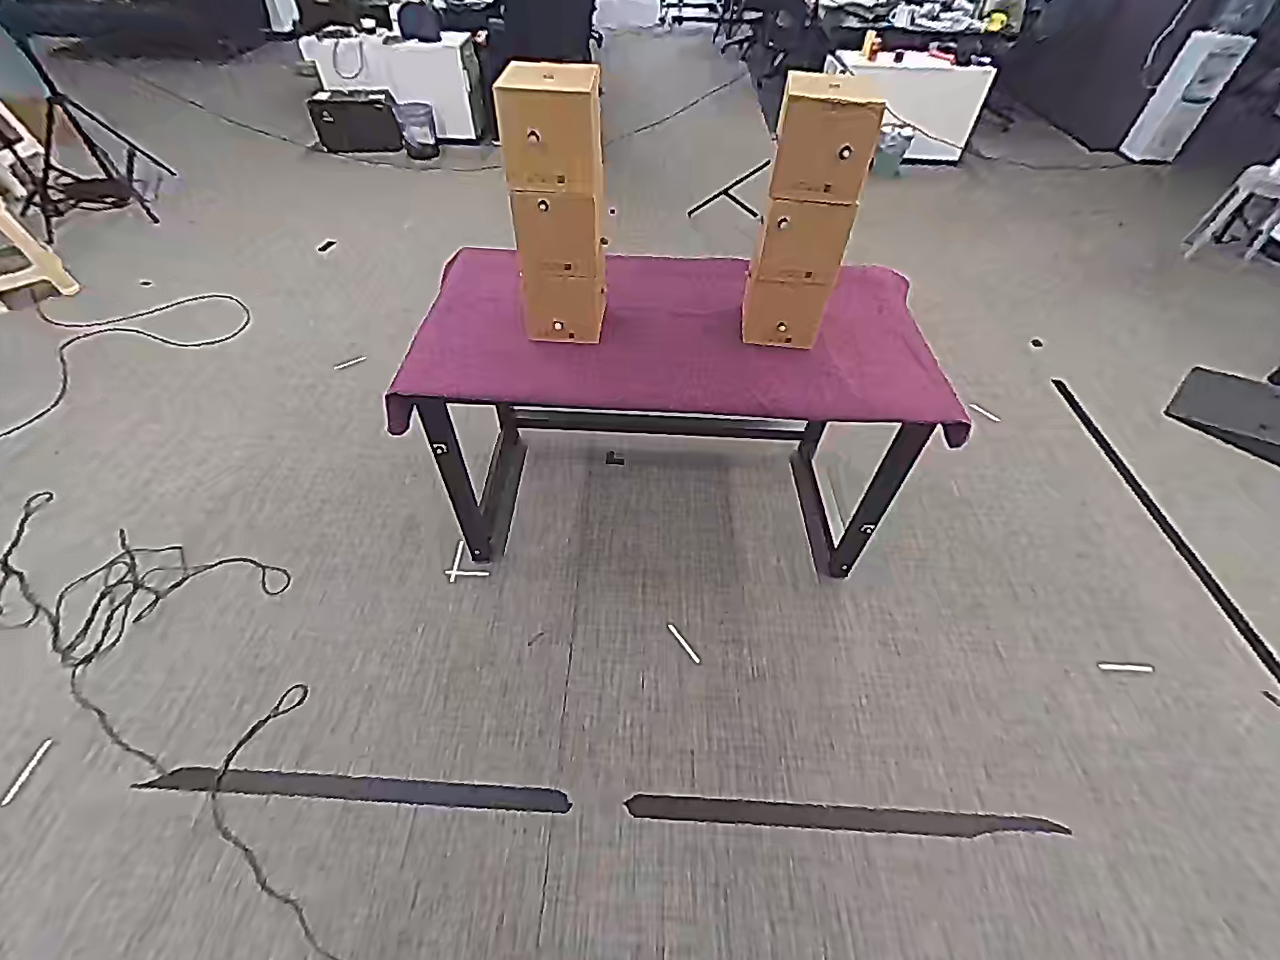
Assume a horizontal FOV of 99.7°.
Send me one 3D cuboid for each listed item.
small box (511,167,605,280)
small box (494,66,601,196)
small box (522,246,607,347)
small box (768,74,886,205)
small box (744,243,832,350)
[{"bbox_3d":[-0.162,-0.542,1.134,0.168,0.176,0.179,3,49,1],"label":"small box"},{"bbox_3d":[-0.161,-0.651,1.012,0.168,0.176,0.179,2,49,0],"label":"small box"},{"bbox_3d":[-0.168,-0.433,1.256,0.168,0.176,0.179,4,50,1],"label":"small box"},{"bbox_3d":[0.343,-0.640,1.020,0.168,0.176,0.179,8,48,4],"label":"small box"},{"bbox_3d":[0.340,-0.430,1.270,0.168,0.176,0.179,6,49,5],"label":"small box"}]
